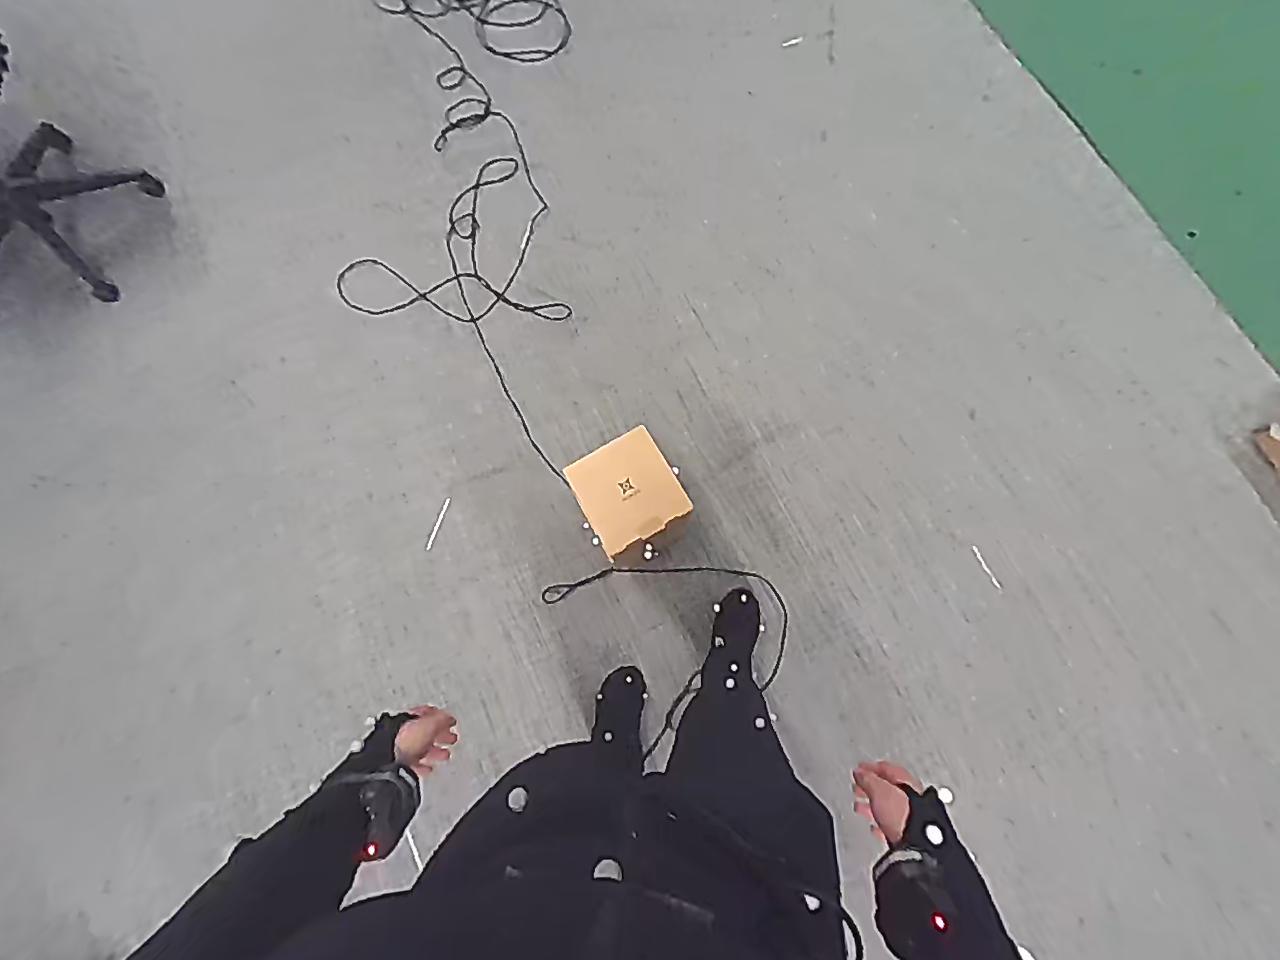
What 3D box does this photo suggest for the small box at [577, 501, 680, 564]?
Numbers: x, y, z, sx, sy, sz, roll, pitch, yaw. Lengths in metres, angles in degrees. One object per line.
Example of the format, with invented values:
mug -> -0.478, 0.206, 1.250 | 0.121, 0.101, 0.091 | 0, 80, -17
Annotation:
small box -> -0.030, 0.066, 1.156 | 0.168, 0.176, 0.179 | -29, 78, -5

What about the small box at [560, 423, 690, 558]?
small box -> -0.027, 0.029, 0.997 | 0.168, 0.176, 0.179 | -30, 79, -6
